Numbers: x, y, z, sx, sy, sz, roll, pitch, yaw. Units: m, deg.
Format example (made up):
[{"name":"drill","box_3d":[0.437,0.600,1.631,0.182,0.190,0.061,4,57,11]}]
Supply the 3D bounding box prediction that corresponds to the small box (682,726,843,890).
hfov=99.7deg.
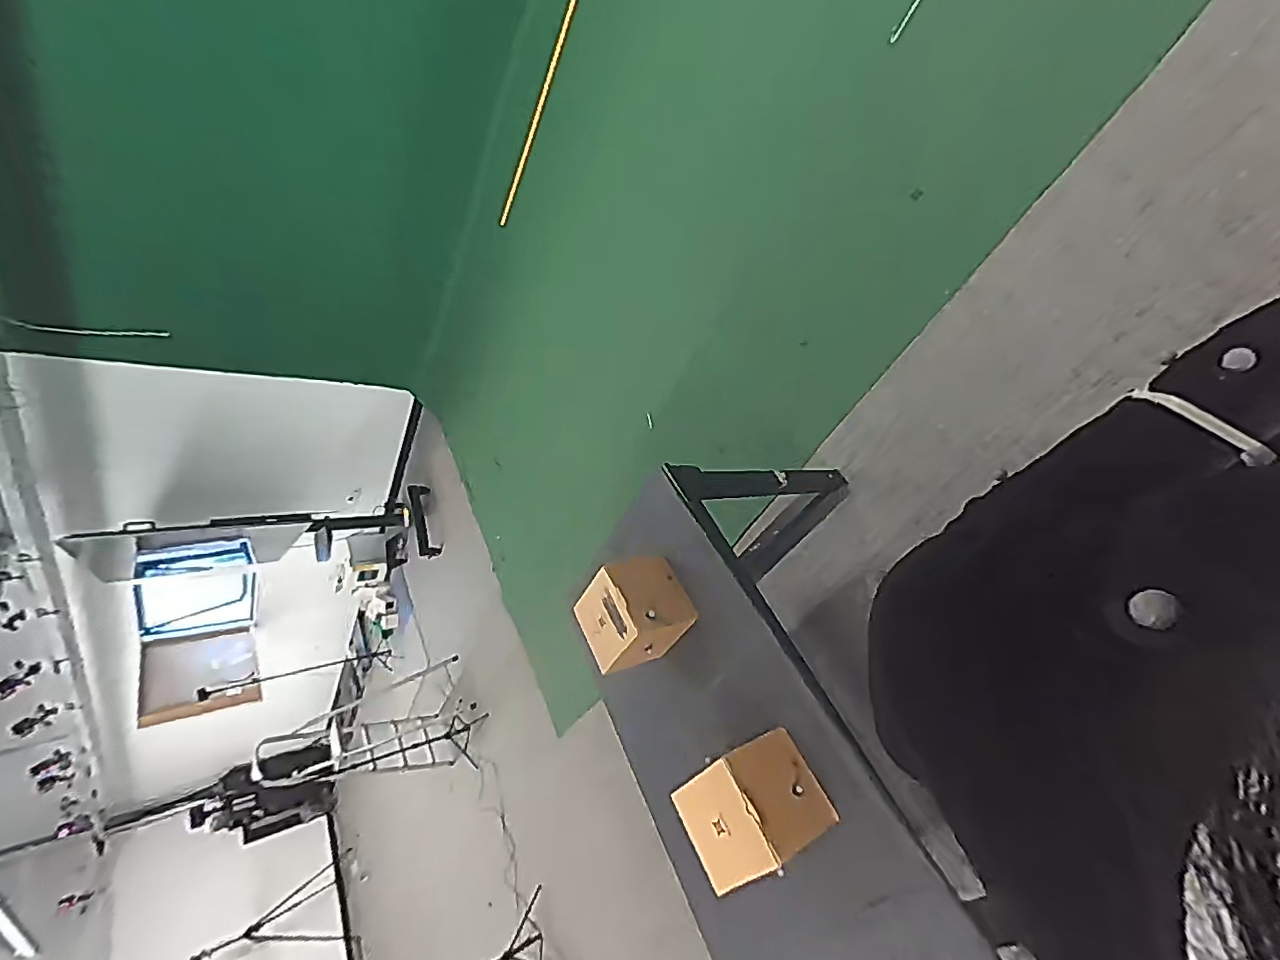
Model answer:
[{"name":"small box","box_3d":[0.210,0.560,0.936,0.168,0.176,0.179,58,131,32]}]
